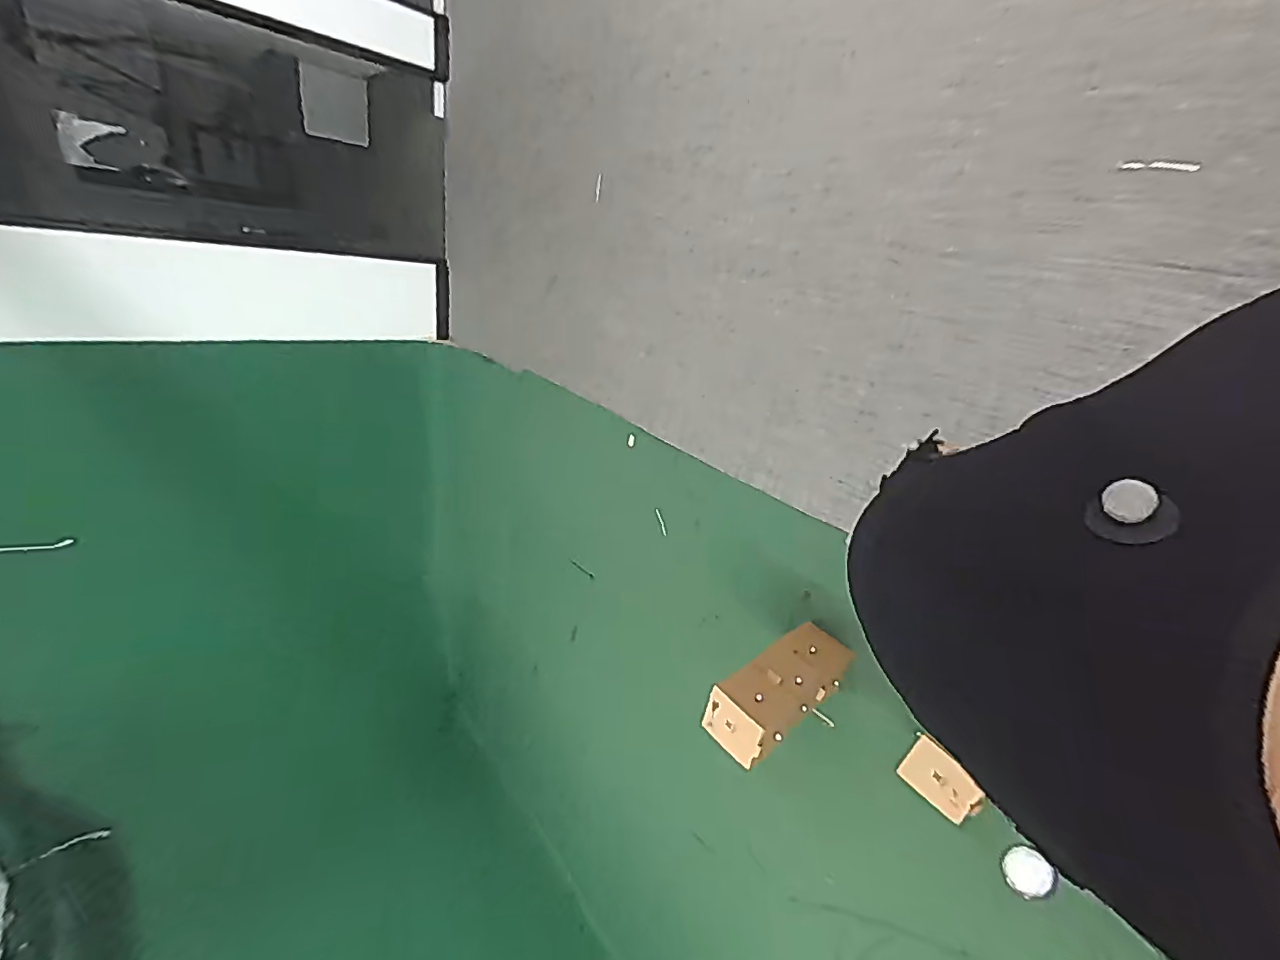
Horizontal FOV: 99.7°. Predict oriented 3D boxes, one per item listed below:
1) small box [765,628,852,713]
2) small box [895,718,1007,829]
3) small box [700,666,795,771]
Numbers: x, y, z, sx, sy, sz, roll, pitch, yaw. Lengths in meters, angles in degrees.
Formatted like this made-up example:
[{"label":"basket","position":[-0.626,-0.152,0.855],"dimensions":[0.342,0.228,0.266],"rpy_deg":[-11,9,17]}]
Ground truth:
[{"label":"small box","position":[0.537,0.596,1.726],"dimensions":[0.179,0.176,0.168],"rpy_deg":[35,123,38]},{"label":"small box","position":[0.826,0.763,1.436],"dimensions":[0.179,0.176,0.168],"rpy_deg":[38,126,37]},{"label":"small box","position":[0.301,0.654,1.504],"dimensions":[0.179,0.176,0.168],"rpy_deg":[34,123,38]}]
